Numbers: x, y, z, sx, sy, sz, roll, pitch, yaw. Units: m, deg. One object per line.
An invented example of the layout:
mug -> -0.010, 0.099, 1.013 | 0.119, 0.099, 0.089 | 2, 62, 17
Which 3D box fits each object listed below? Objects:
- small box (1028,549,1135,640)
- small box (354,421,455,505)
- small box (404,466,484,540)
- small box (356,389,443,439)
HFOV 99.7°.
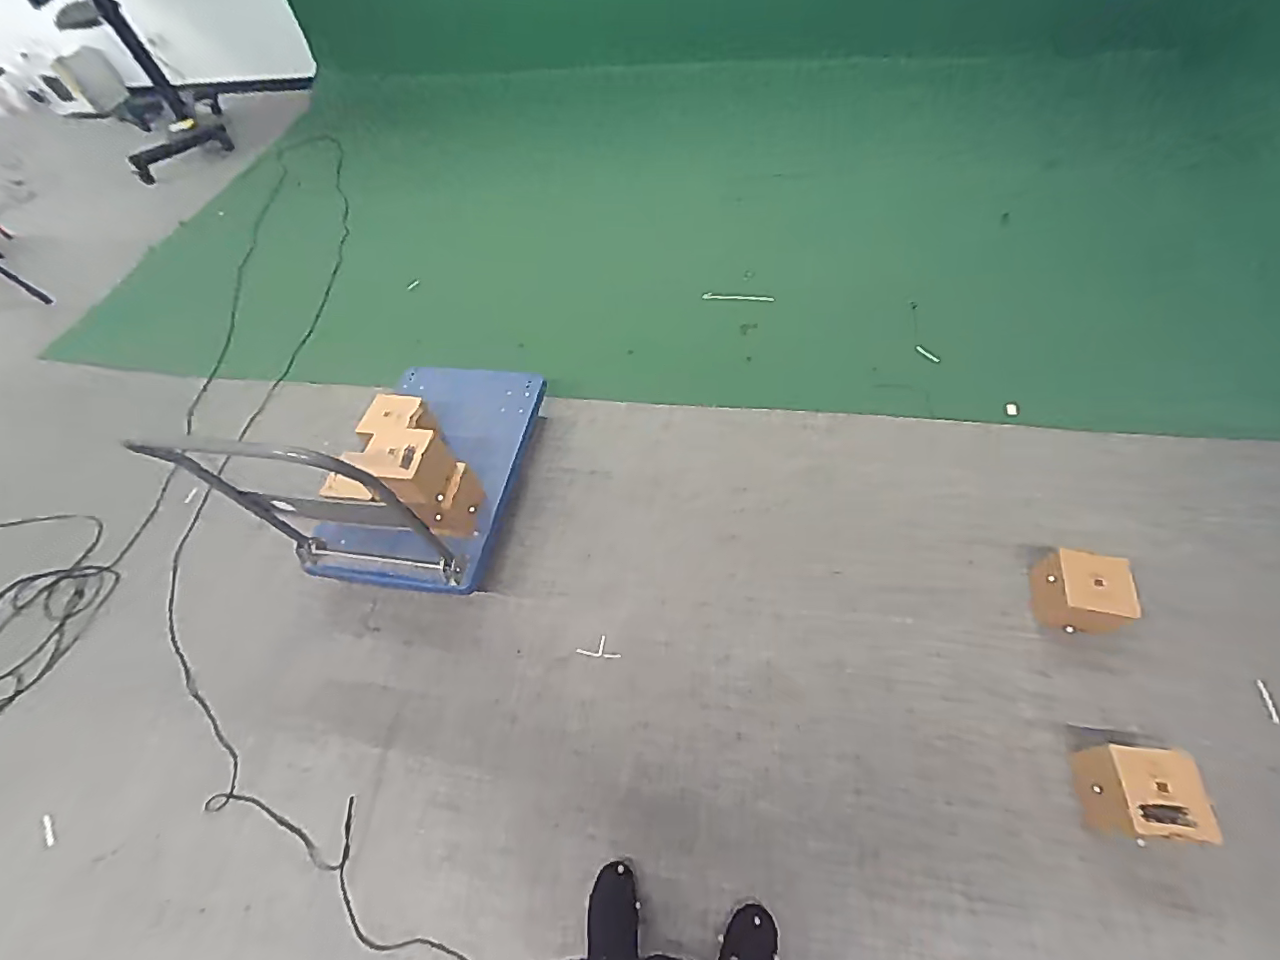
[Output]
small box -> 1.211, 0.321, 1.500 | 0.168, 0.176, 0.179 | 10, 58, 13
small box -> -0.648, -0.045, 1.516 | 0.179, 0.176, 0.168 | 5, 56, 10
small box -> -0.611, 0.052, 1.656 | 0.168, 0.176, 0.179 | 34, 67, 23
small box -> -0.802, -0.182, 1.820 | 0.179, 0.176, 0.168 | 9, 58, 11
